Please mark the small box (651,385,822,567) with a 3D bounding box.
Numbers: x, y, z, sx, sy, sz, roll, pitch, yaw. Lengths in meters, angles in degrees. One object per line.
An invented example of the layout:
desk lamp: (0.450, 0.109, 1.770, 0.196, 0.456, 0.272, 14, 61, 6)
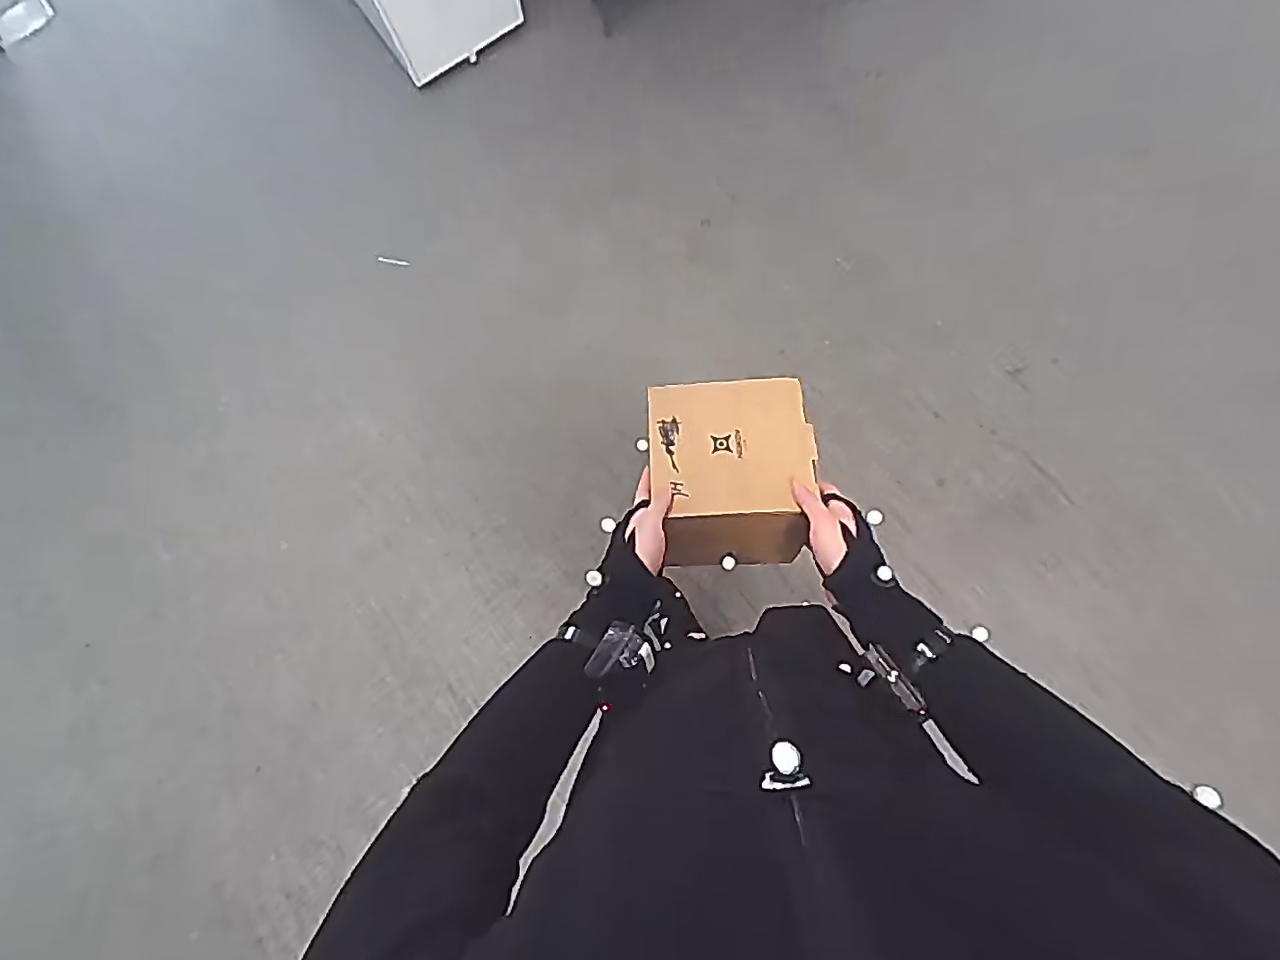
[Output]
small box: (0.102, 0.003, 0.656, 0.179, 0.176, 0.168, -2, 63, 3)
